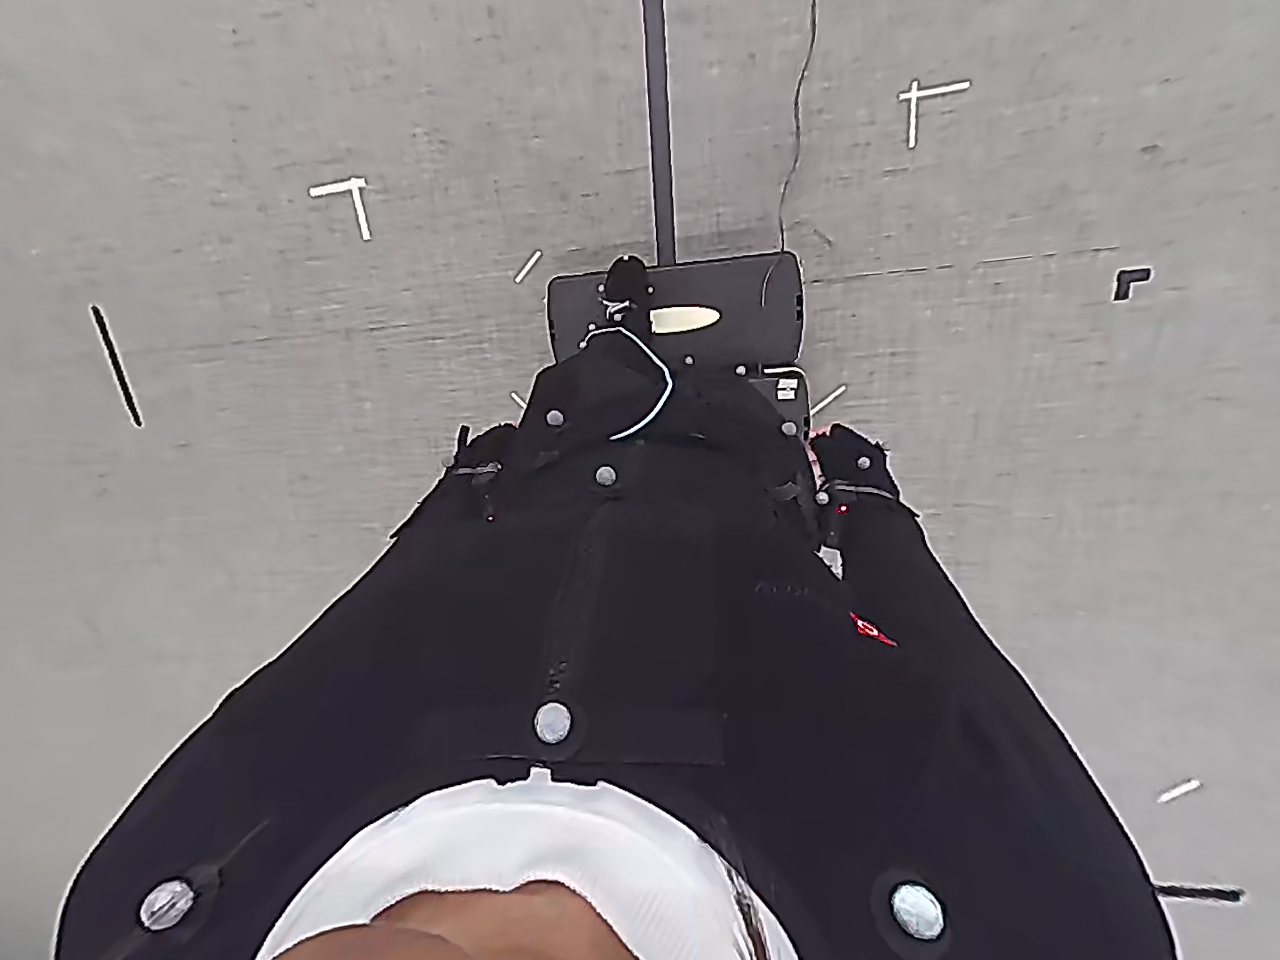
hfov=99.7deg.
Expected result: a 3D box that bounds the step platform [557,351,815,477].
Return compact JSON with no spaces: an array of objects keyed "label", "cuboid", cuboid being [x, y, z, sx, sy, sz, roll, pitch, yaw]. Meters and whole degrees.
[{"label":"step platform","cuboid":[0.120,-0.174,1.473,0.684,0.204,0.286,-3,106,11]}]
